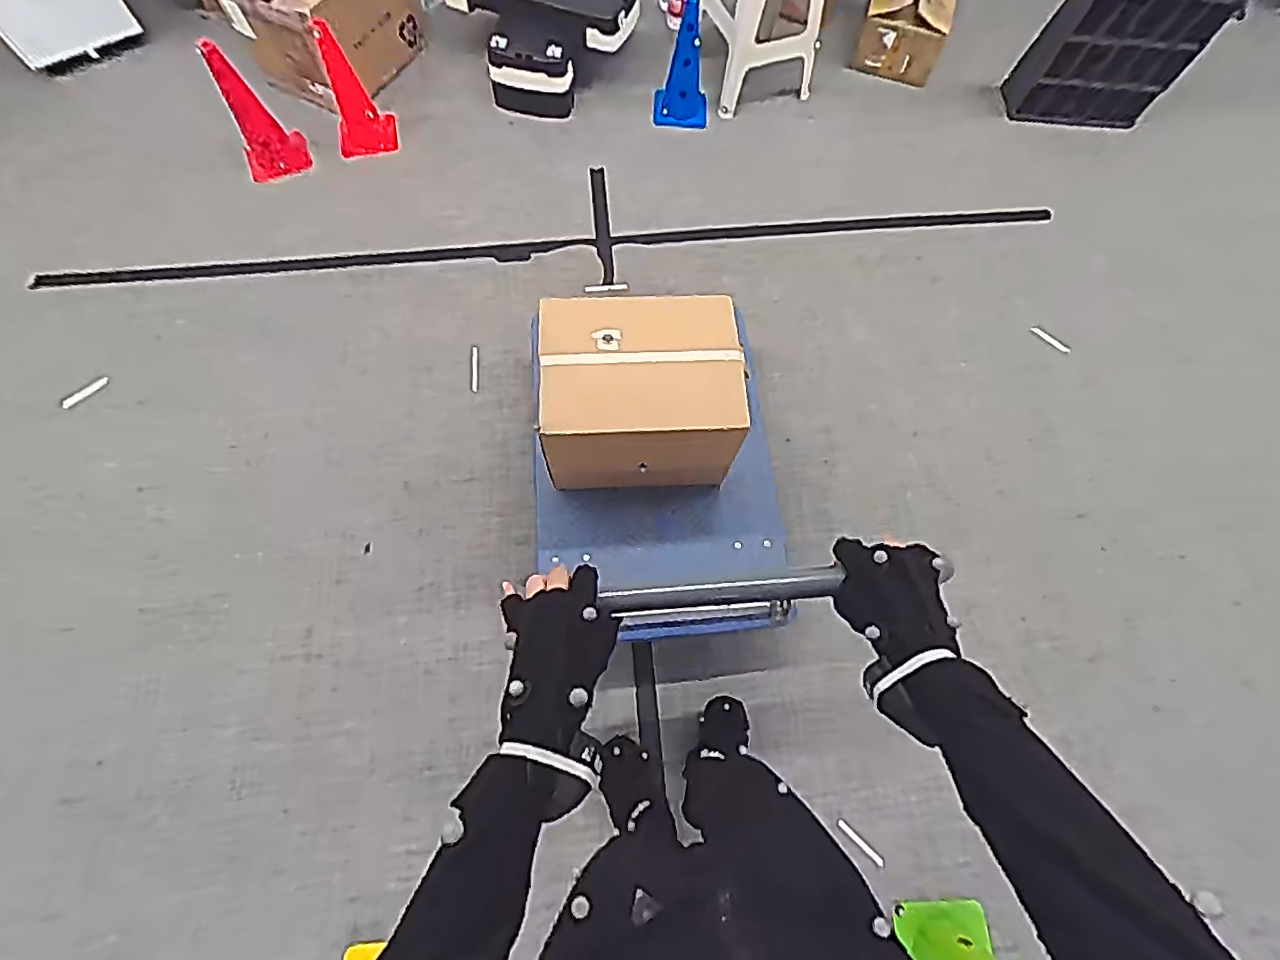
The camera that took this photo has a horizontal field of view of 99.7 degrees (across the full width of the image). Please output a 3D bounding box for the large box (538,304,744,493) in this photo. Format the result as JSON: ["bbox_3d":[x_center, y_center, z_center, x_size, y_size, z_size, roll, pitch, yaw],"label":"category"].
[{"bbox_3d":[-0.008,-0.169,1.228,0.408,0.320,0.320,-3,69,-3],"label":"large box"}]

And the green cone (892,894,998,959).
[{"bbox_3d":[0.650,0.933,0.975,0.202,0.368,0.200,-1,69,-4],"label":"green cone"}]
